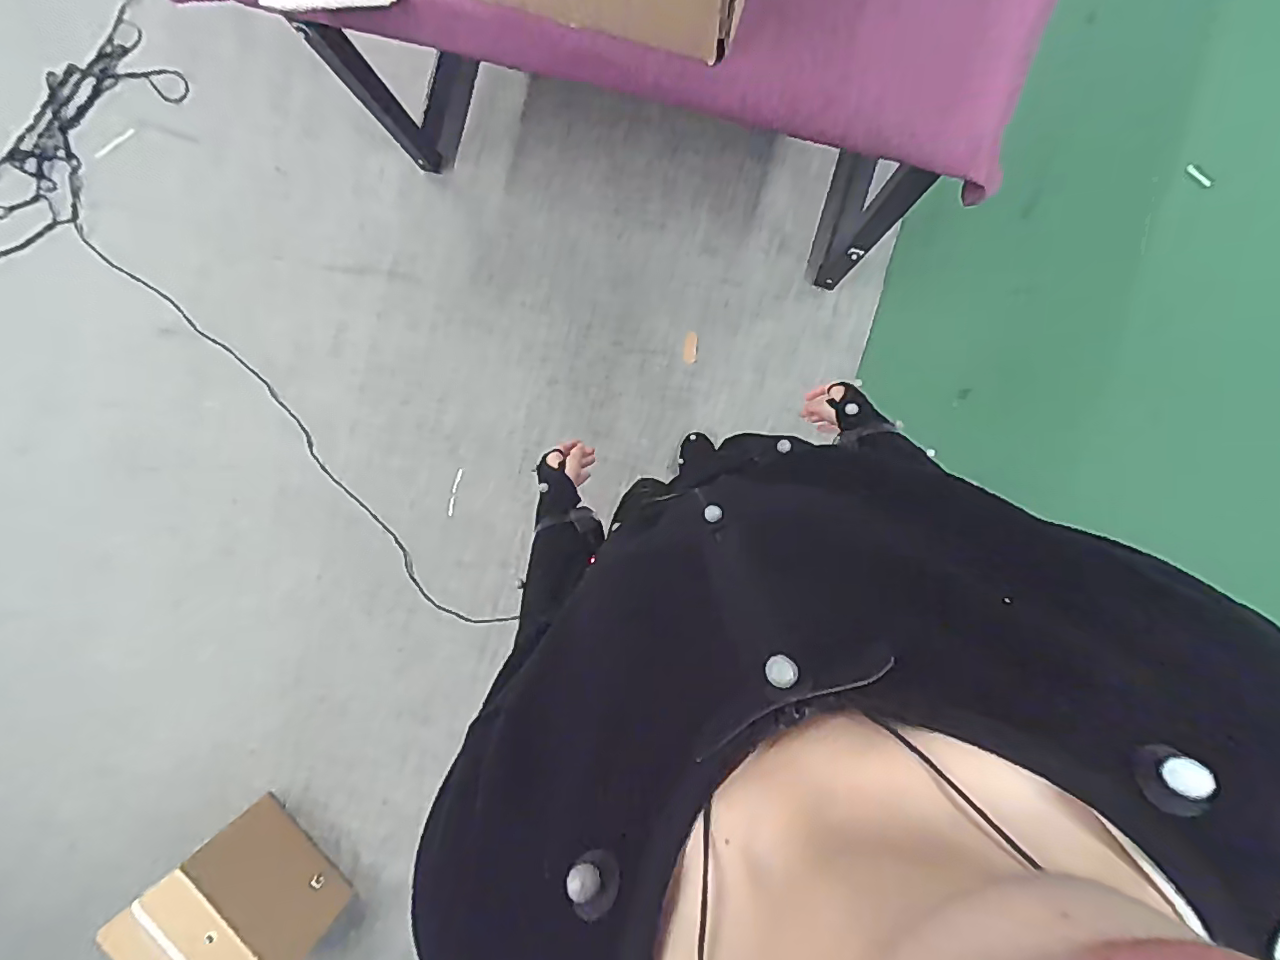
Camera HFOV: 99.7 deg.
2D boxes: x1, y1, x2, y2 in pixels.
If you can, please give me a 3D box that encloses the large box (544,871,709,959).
[{"bbox_3d":[-0.032,1.299,1.426,0.408,0.320,0.320,2,94,2],"label":"large box"}]
